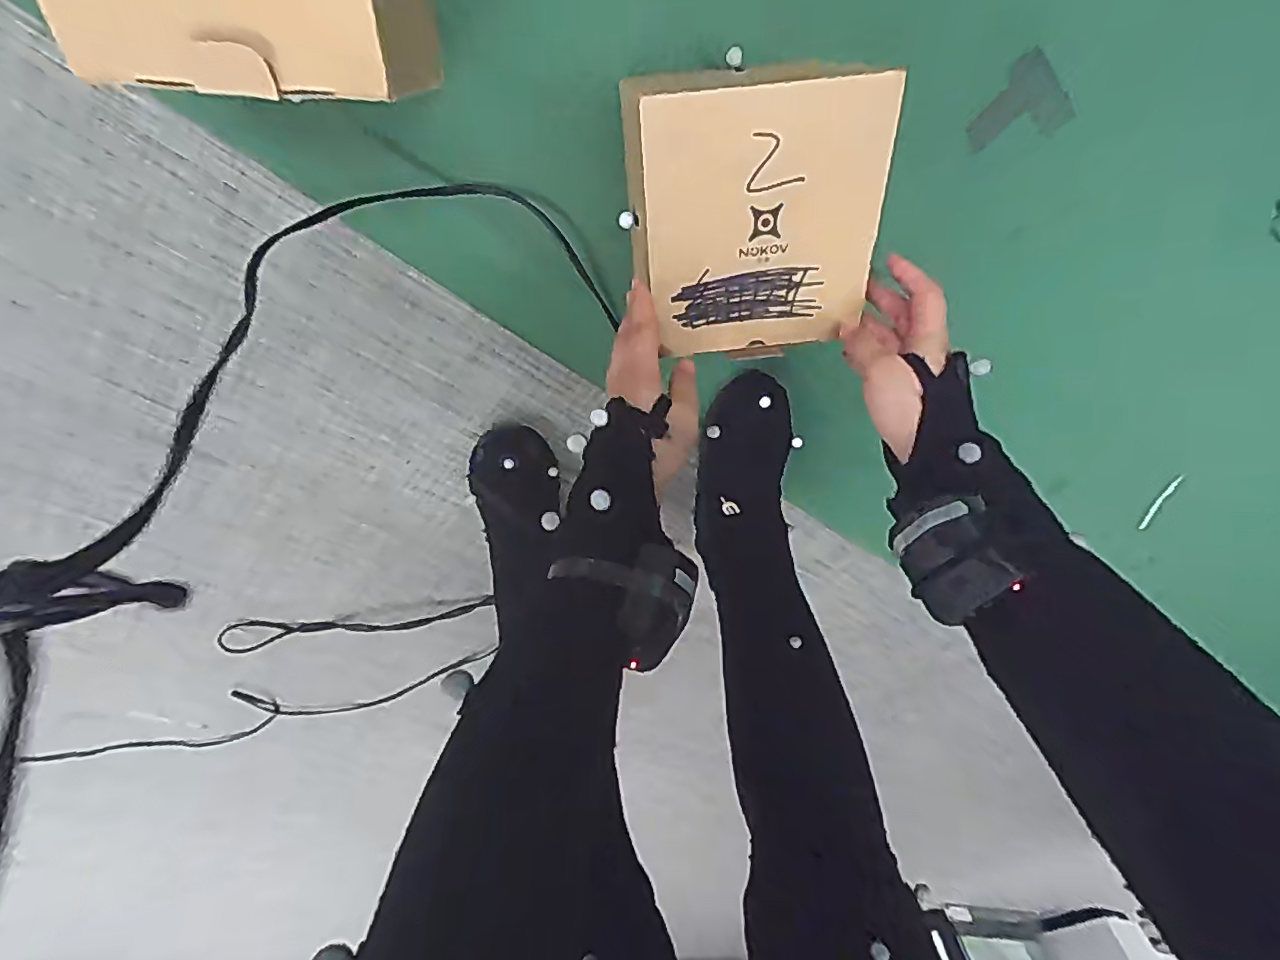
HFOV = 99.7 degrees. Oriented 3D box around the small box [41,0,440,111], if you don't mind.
[{"bbox_3d":[-0.225,-0.332,0.312,0.168,0.176,0.179,-1,130,-7],"label":"small box"}]
